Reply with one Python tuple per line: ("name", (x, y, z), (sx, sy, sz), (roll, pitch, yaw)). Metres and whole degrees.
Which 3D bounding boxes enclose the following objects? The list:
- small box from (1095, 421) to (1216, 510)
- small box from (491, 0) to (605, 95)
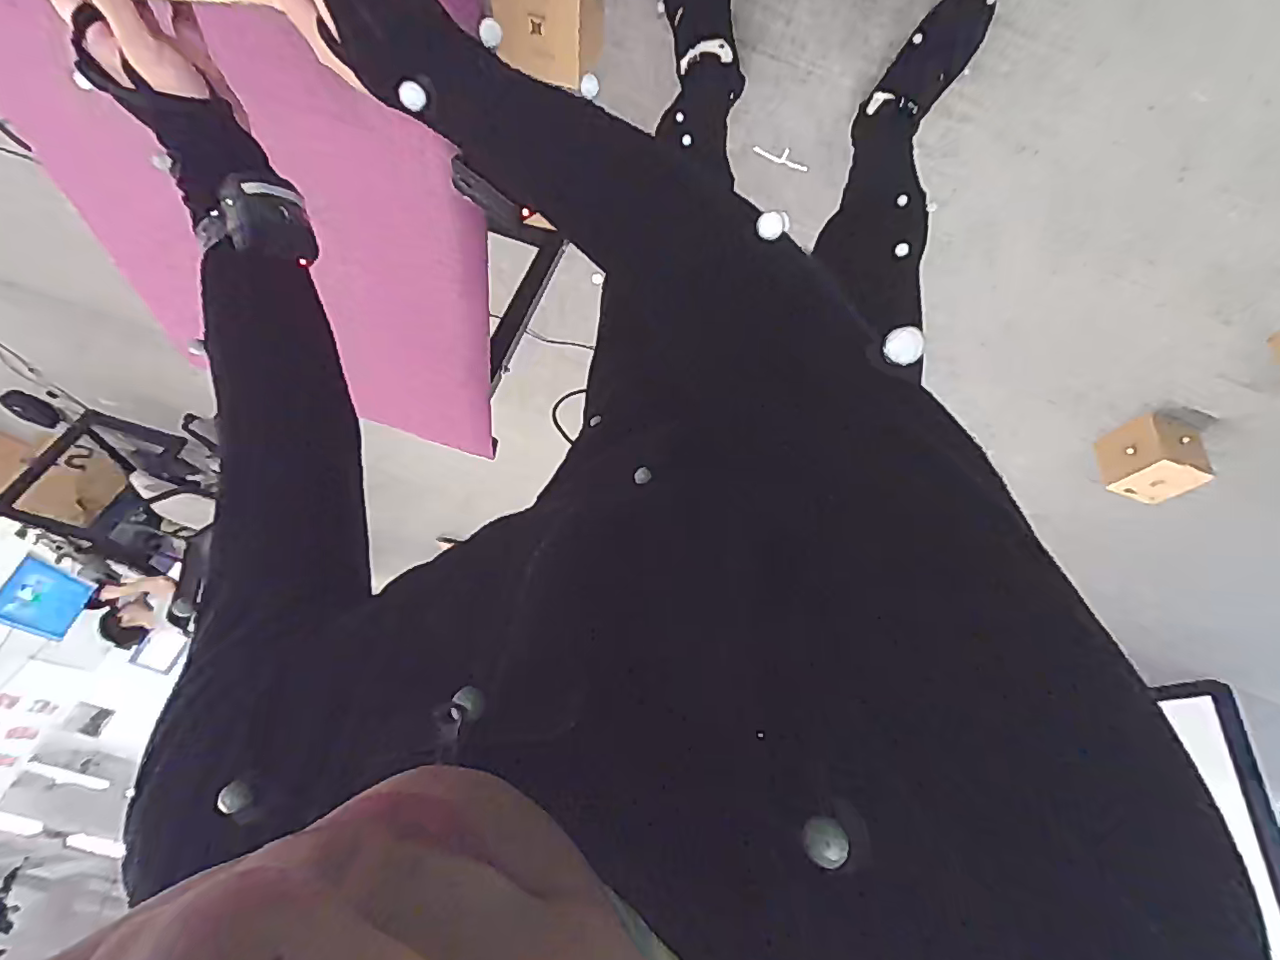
("small box", (1.478, -0.043, 1.566), (0.168, 0.176, 0.179), (19, 147, -5))
("small box", (-0.166, -0.867, 1.005), (0.168, 0.176, 0.179), (15, 149, 2))
